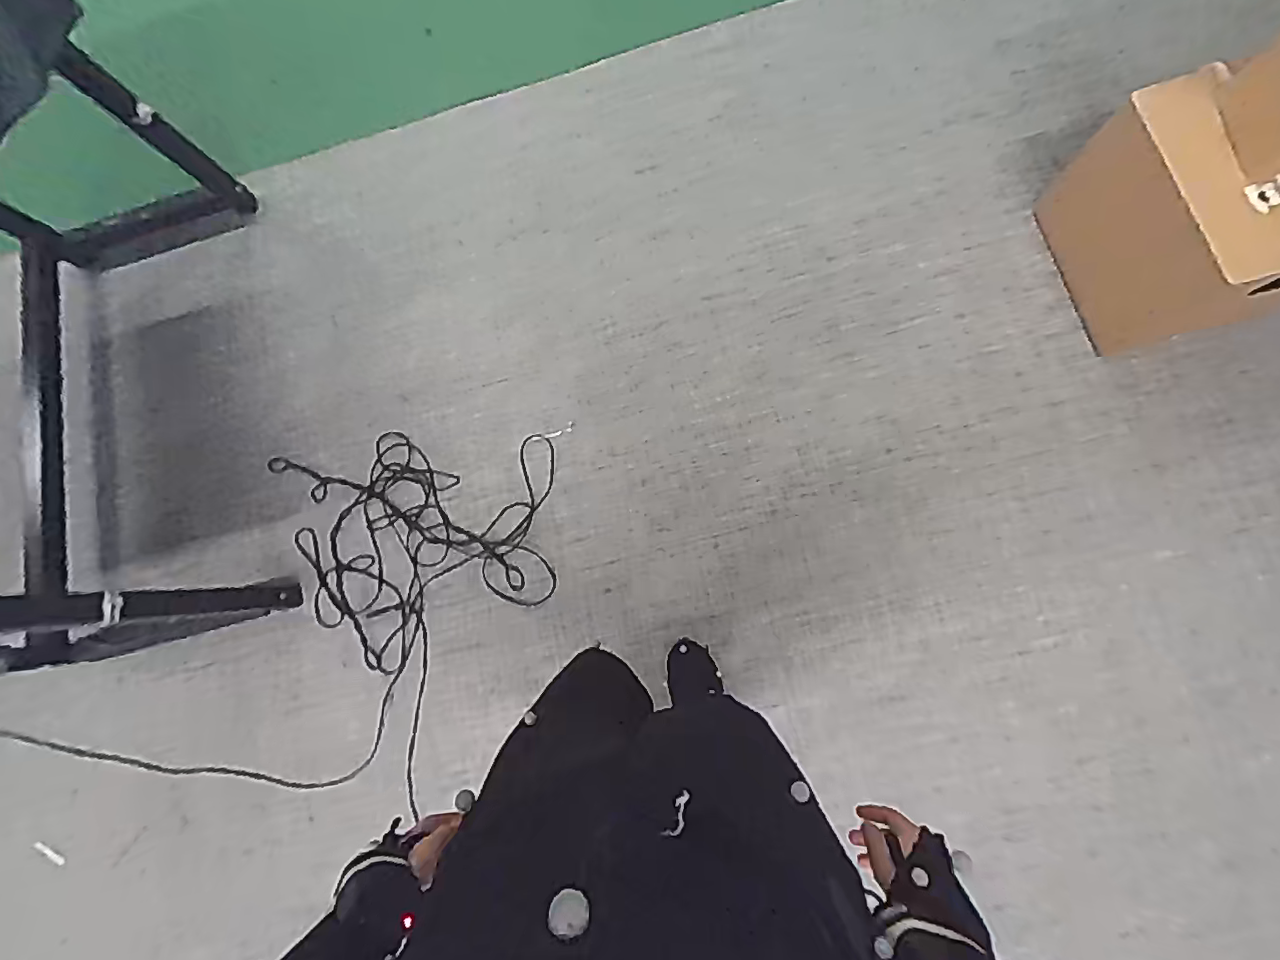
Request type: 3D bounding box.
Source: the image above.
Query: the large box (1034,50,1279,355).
[{"bbox_3d":[1.099,-0.523,1.077,0.320,0.320,0.408,-16,80,5],"label":"large box"}]
